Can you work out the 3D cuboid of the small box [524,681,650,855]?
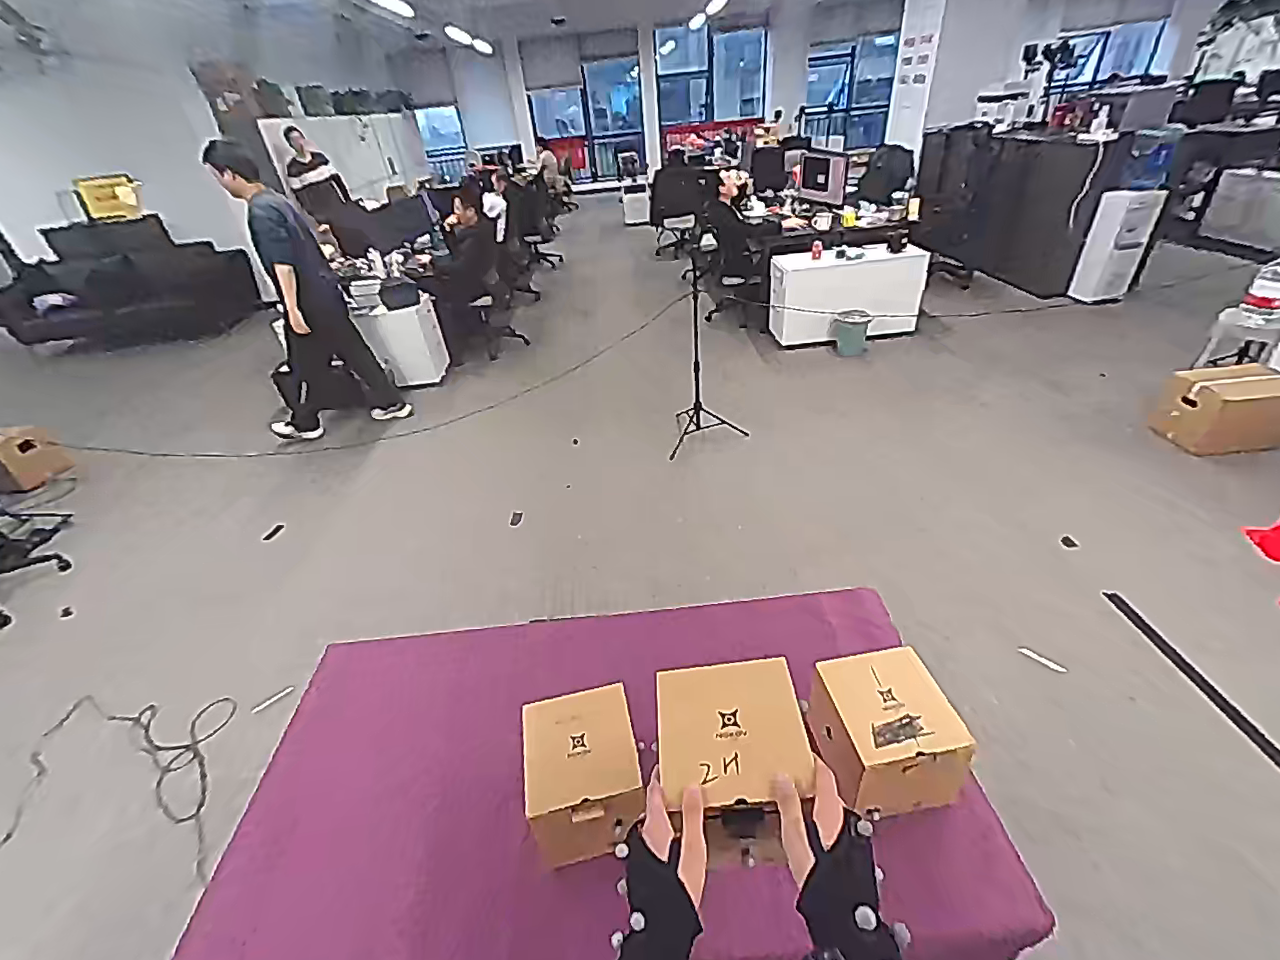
[{"bbox_3d":[-0.083,0.455,0.850,0.168,0.176,0.179,-10,35,-7],"label":"small box"}]

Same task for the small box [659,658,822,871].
[{"bbox_3d":[0.116,0.348,0.664,0.168,0.176,0.179,-9,39,6],"label":"small box"}]

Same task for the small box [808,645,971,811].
[{"bbox_3d":[0.379,0.396,0.857,0.168,0.176,0.179,-9,34,-3],"label":"small box"}]
